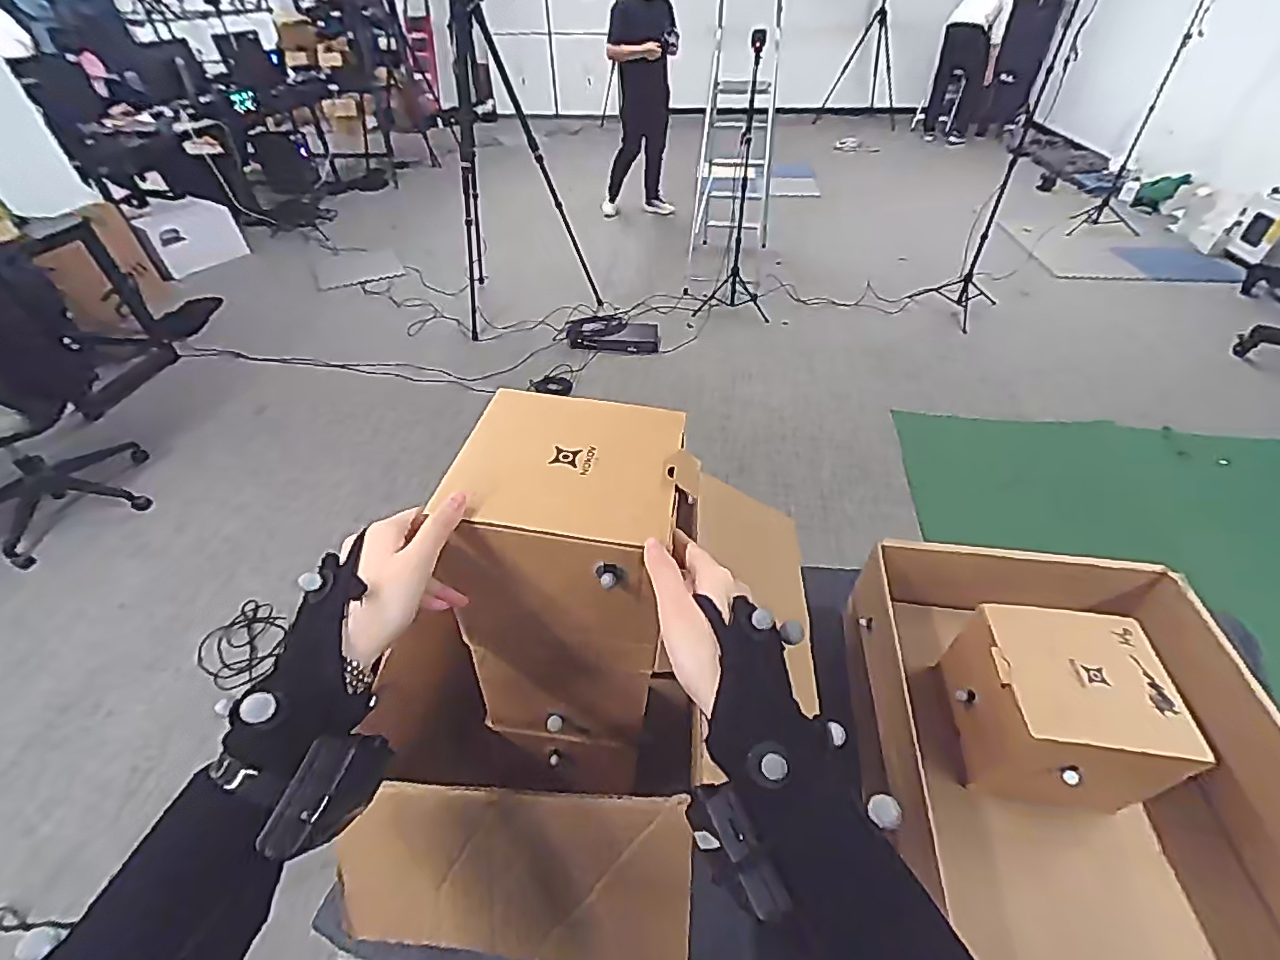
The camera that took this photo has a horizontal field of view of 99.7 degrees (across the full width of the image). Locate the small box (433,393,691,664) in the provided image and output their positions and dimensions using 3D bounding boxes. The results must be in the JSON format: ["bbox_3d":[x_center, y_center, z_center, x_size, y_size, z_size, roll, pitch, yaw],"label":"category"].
[{"bbox_3d":[-0.056,0.045,0.488,0.179,0.176,0.168,9,43,3],"label":"small box"}]
